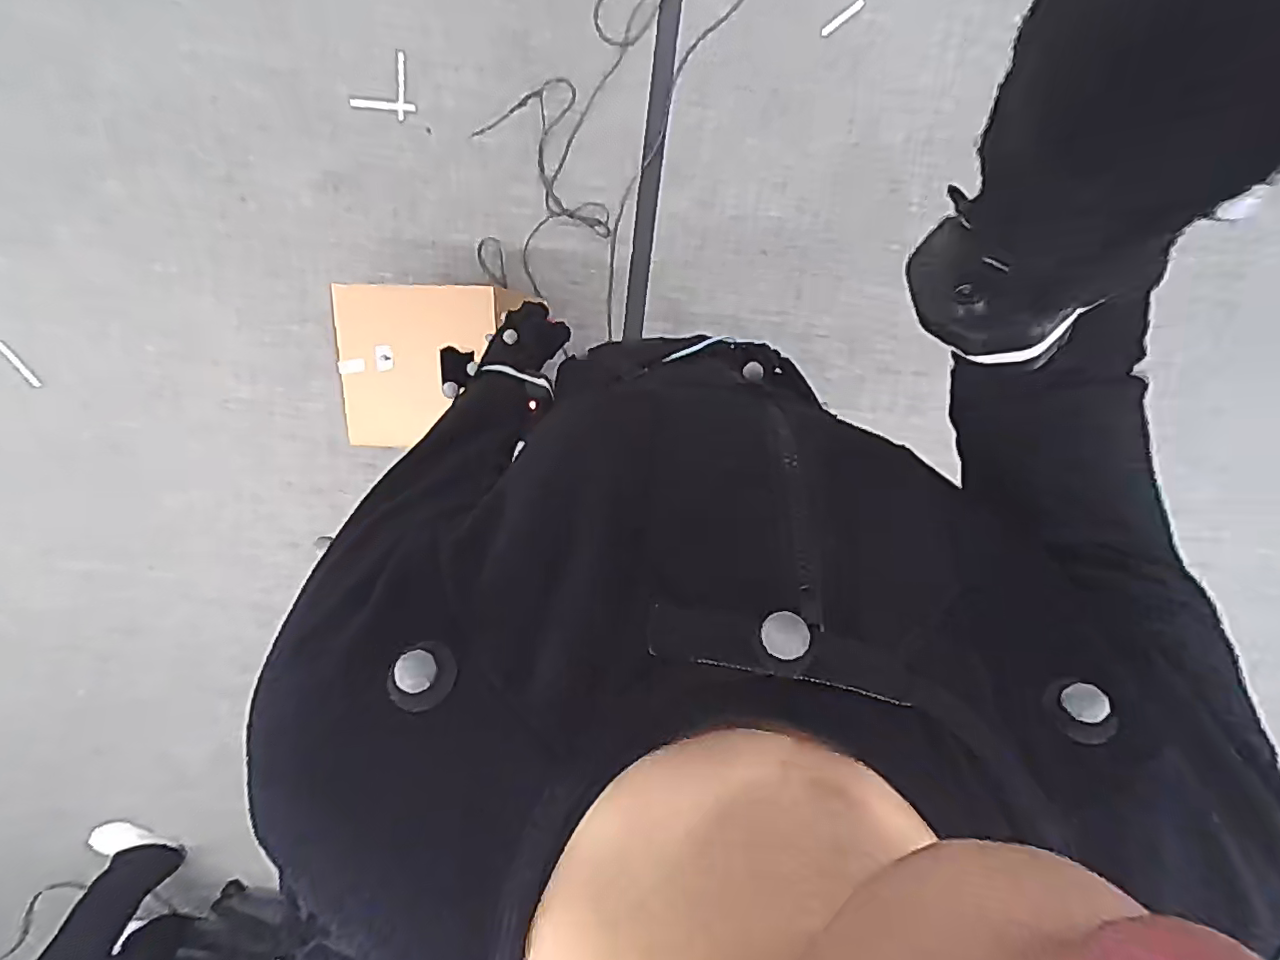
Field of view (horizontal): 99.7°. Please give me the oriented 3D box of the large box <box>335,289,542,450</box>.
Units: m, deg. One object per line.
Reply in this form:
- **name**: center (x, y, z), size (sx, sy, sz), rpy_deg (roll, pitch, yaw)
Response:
- **large box**: center (-0.423, -0.266, 1.238), size (0.320, 0.408, 0.320), rpy_deg (3, 106, 1)
